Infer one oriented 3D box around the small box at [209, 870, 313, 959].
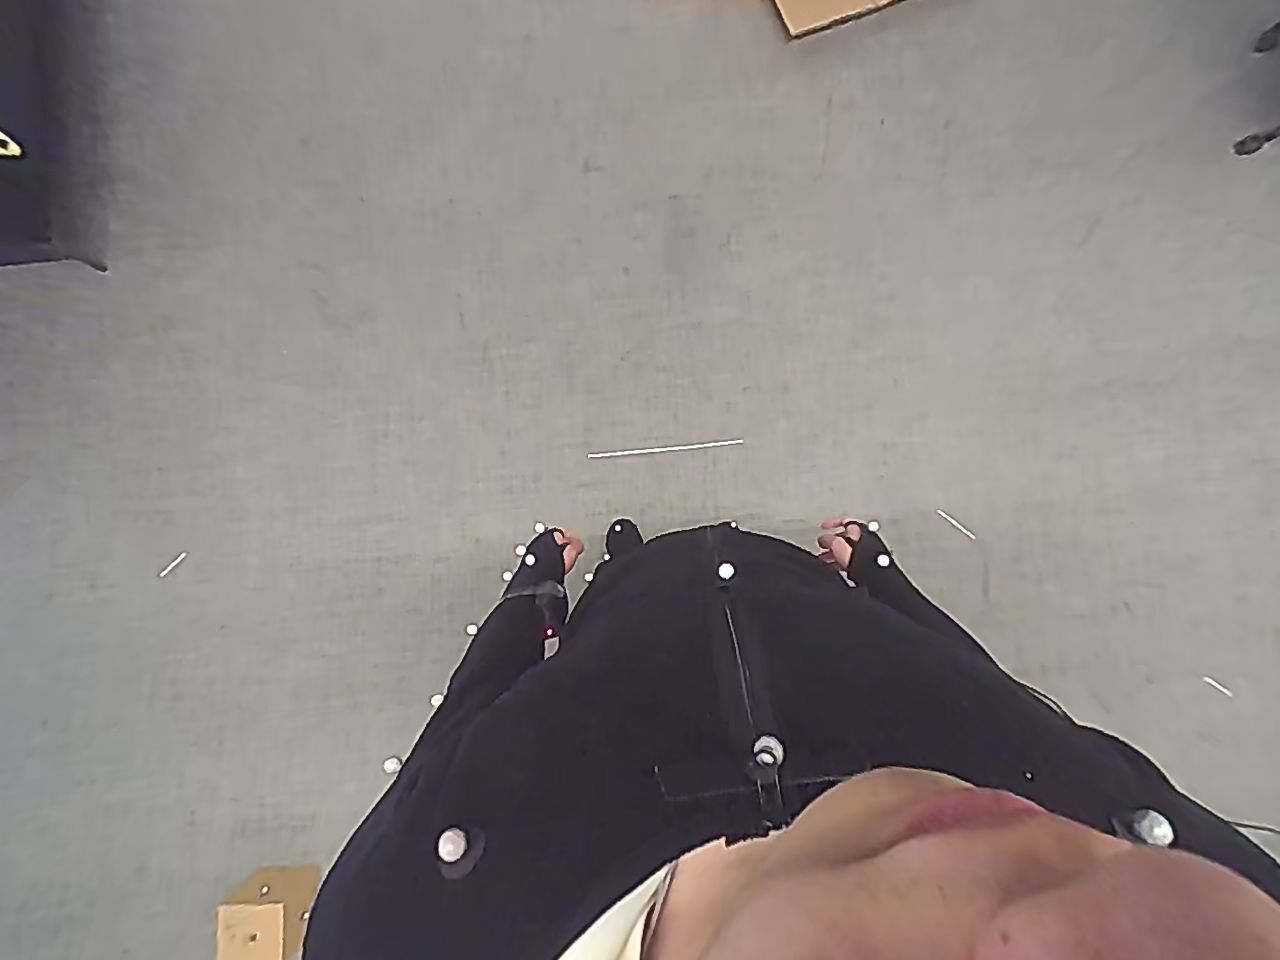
[{"bbox_3d":[-1.022,1.198,1.471,0.179,0.176,0.168,-2,85,0],"label":"small box"}]
